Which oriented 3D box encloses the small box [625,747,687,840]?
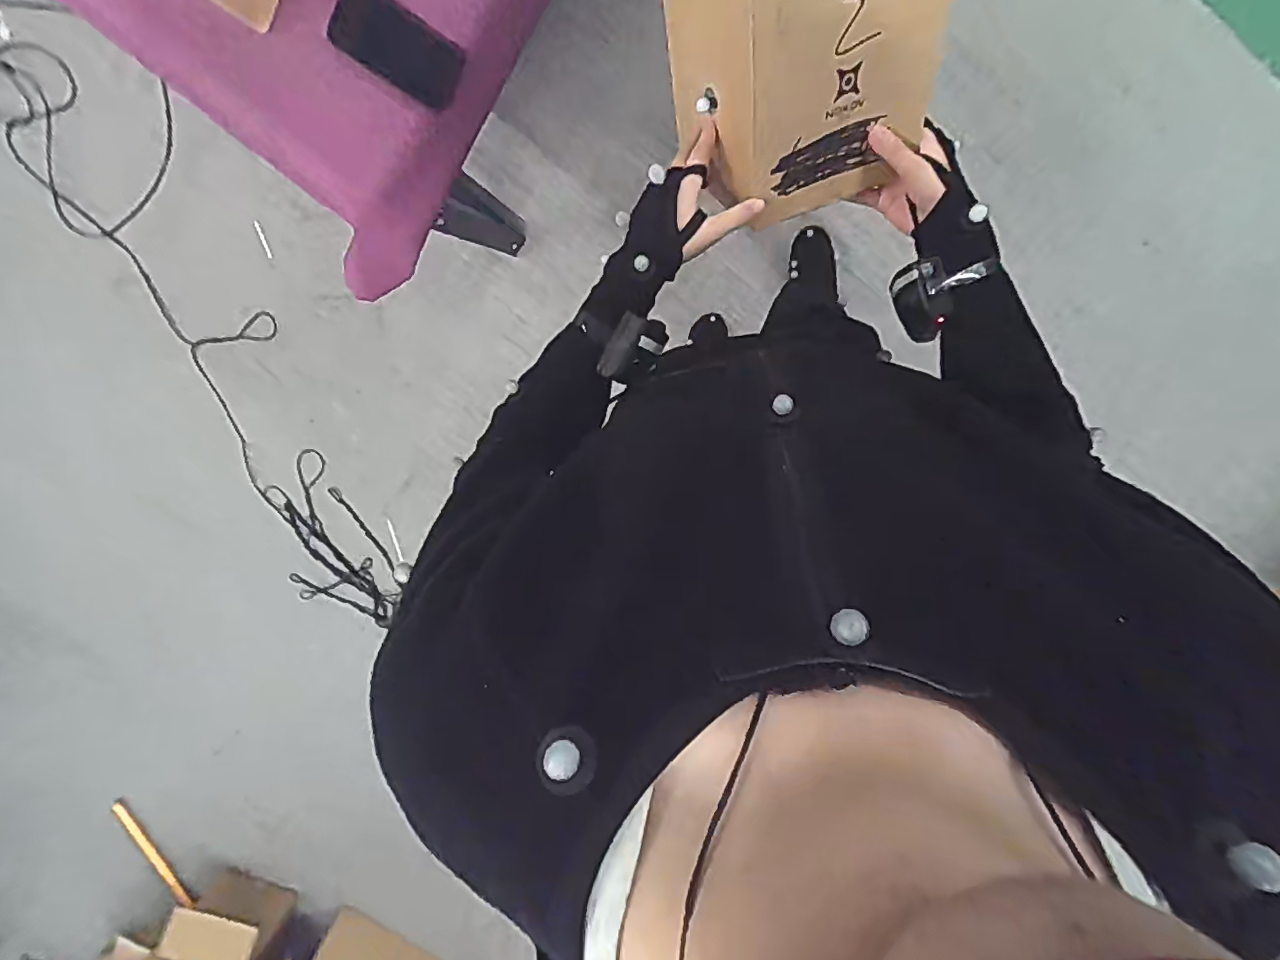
[{"bbox_3d":[0.032,1.007,1.753,0.179,0.176,0.168,36,107,-8],"label":"small box"}]

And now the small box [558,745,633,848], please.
[{"bbox_3d":[-0.122,0.906,1.561,0.168,0.176,0.179,20,108,-3],"label":"small box"}]
